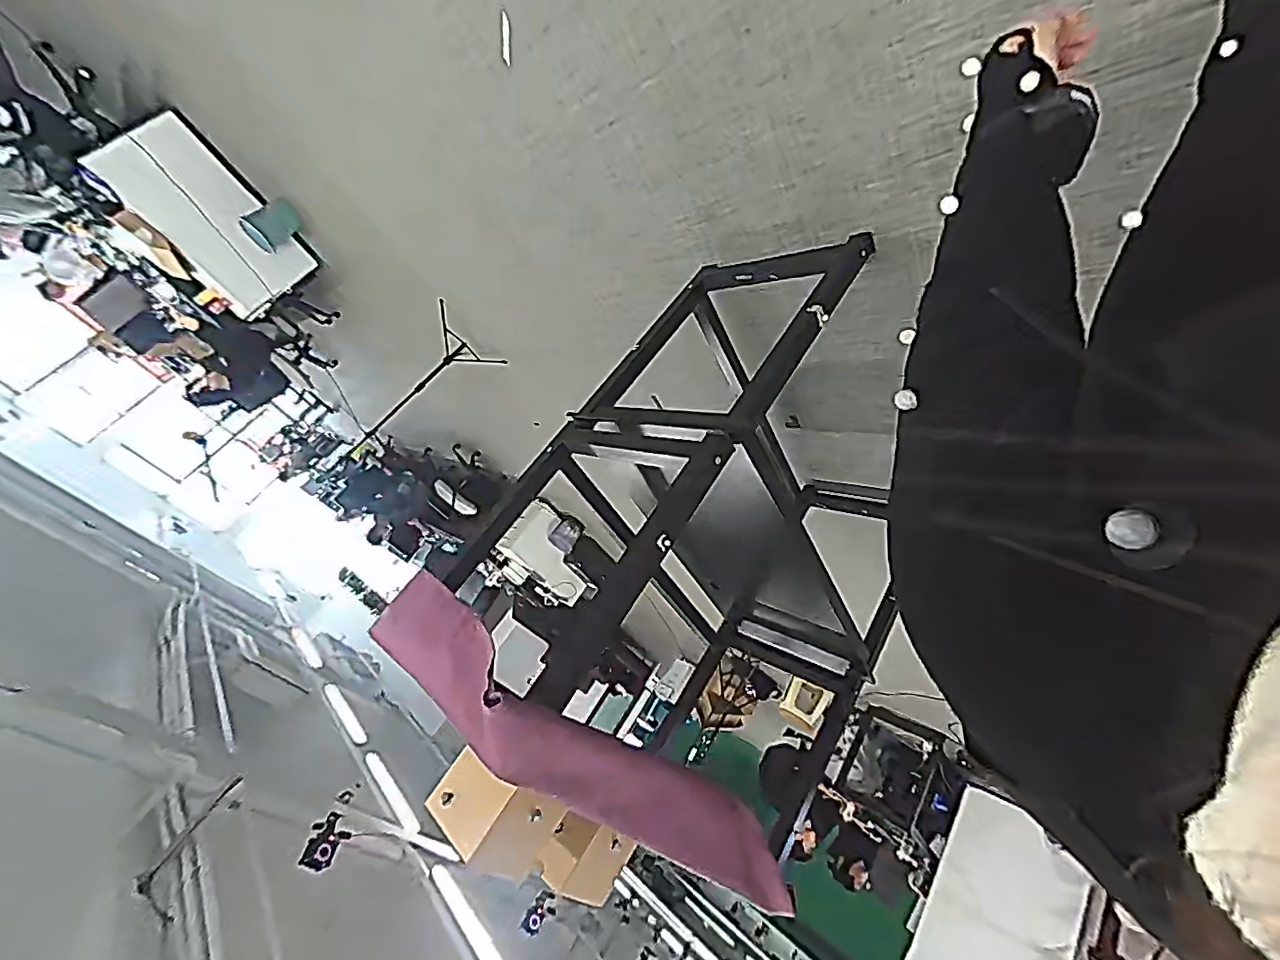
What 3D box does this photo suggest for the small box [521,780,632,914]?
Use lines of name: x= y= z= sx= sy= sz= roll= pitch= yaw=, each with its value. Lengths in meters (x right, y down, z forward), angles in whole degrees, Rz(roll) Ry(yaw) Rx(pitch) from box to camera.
small box: x=-0.149 y=0.801 z=1.193 sx=0.168 sy=0.176 sz=0.179 roll=15 pitch=149 yaw=44

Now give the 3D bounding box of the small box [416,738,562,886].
small box: x=-0.284 y=0.625 z=1.040 sx=0.179 sy=0.176 sz=0.168 roll=14 pitch=150 yaw=44
